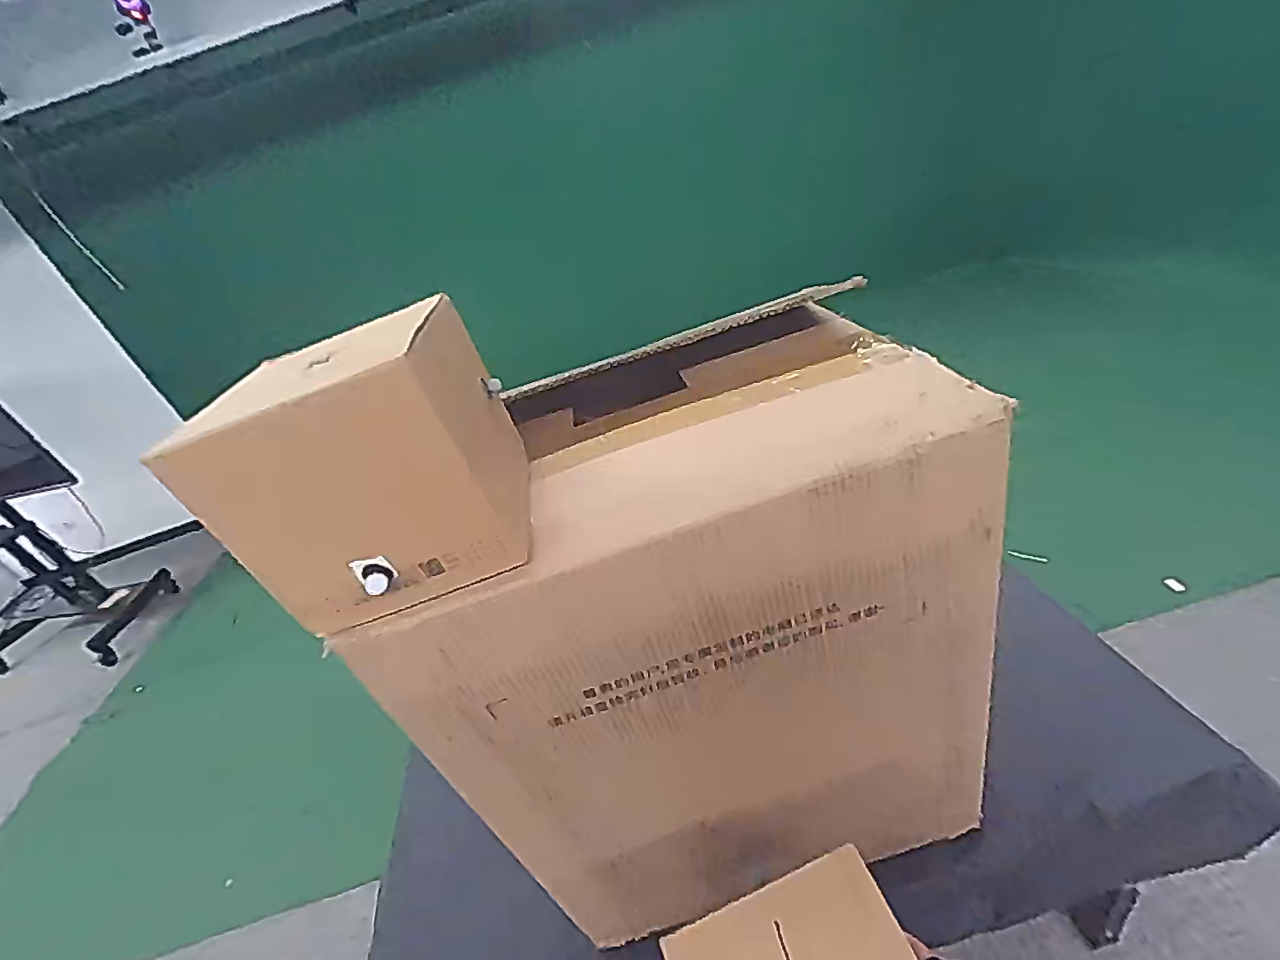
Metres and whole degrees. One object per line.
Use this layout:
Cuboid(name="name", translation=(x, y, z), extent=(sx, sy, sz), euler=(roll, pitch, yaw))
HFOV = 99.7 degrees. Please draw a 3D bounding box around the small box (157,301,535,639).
Cuboid(name="small box", translation=(-0.191, -0.014, 0.419), extent=(0.168, 0.176, 0.179), euler=(-23, 32, 0))
